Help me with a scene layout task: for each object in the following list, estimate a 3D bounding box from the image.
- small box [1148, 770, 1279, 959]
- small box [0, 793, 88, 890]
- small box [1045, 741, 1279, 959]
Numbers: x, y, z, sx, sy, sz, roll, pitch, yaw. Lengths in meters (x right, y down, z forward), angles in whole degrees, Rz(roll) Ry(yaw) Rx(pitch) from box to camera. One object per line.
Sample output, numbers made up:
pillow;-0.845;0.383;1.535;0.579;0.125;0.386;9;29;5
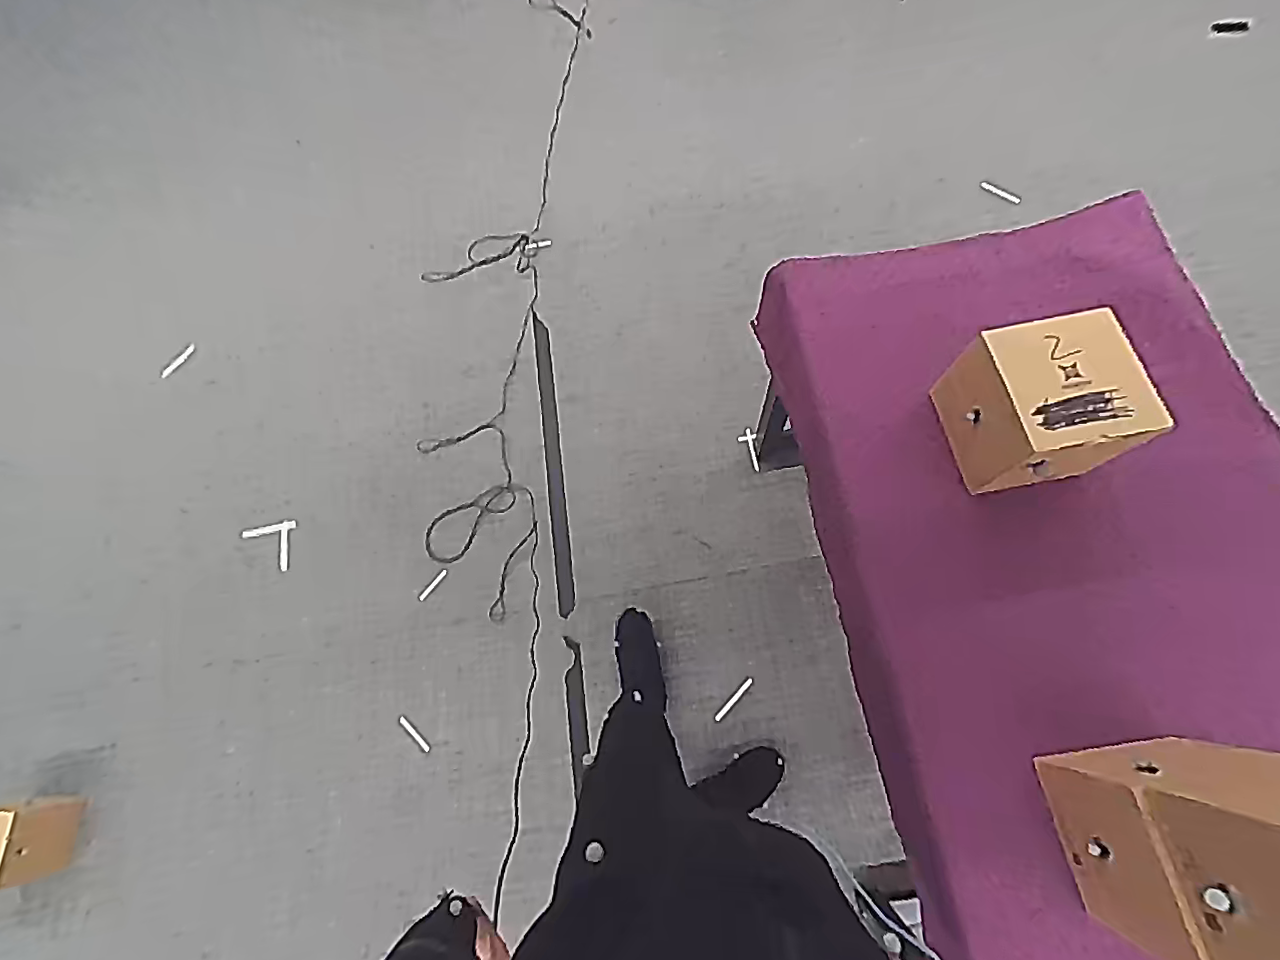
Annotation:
small box;0.578;0.337;0.424;0.179;0.176;0.168;-9;71;3
small box;-1.602;0.926;1.400;0.168;0.176;0.179;-3;73;4
small box;0.583;0.389;0.579;0.179;0.176;0.168;-10;71;2
